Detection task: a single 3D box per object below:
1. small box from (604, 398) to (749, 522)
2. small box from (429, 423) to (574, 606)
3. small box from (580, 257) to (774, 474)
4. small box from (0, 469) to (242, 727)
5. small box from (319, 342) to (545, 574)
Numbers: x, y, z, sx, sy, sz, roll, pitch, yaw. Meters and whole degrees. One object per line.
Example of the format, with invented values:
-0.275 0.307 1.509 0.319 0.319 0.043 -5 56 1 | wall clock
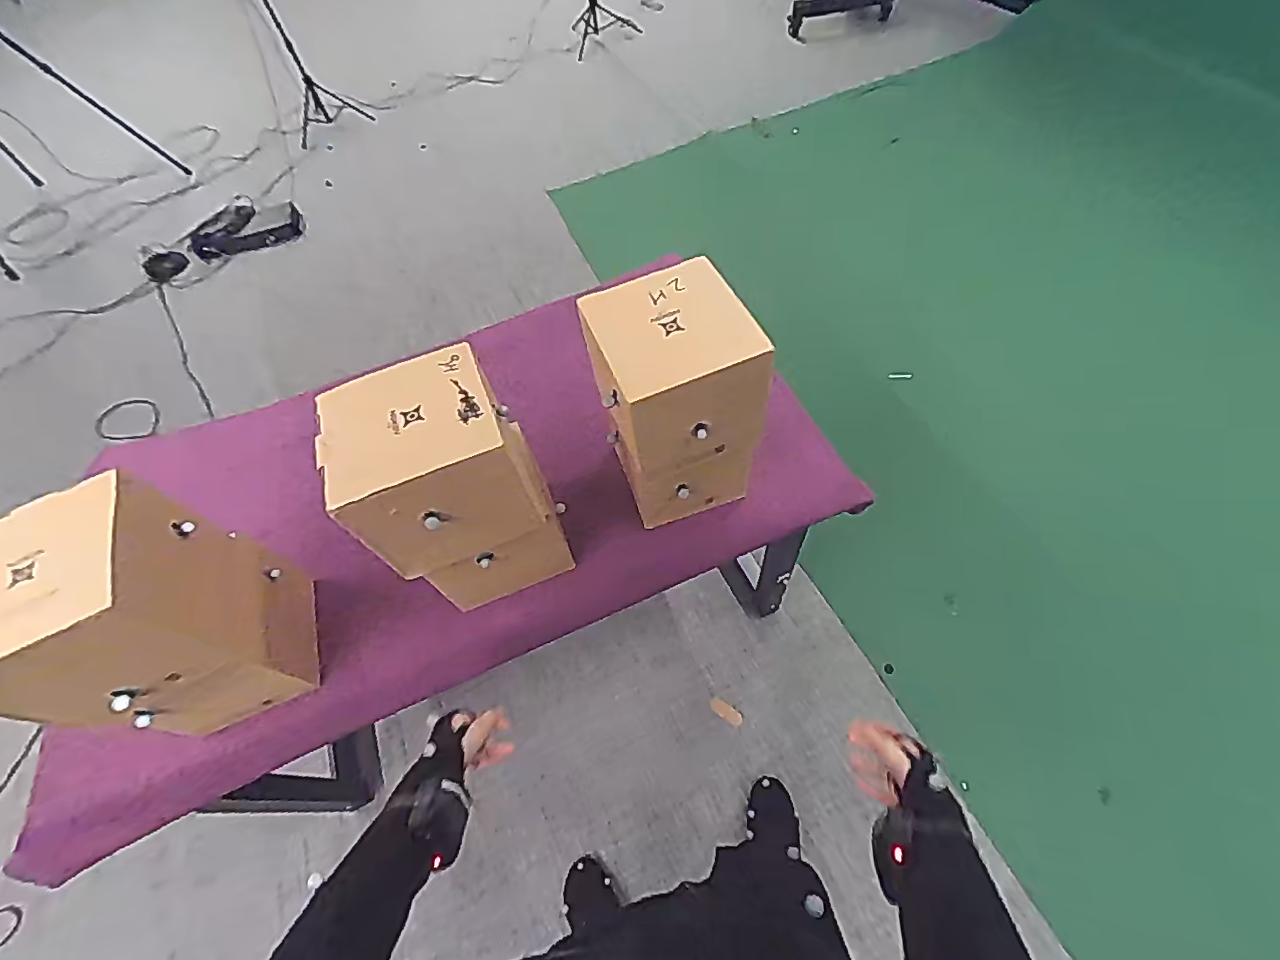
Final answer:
0.056 -0.056 0.805 0.168 0.176 0.179 -19 58 -5 | small box
-0.211 0.055 0.764 0.179 0.176 0.168 -21 58 -7 | small box
0.043 -0.128 0.656 0.168 0.176 0.179 -21 58 -7 | small box
-0.556 0.127 0.561 0.168 0.176 0.179 -27 58 -10 | small box
-0.229 -0.018 0.617 0.179 0.176 0.168 -22 58 -7 | small box
